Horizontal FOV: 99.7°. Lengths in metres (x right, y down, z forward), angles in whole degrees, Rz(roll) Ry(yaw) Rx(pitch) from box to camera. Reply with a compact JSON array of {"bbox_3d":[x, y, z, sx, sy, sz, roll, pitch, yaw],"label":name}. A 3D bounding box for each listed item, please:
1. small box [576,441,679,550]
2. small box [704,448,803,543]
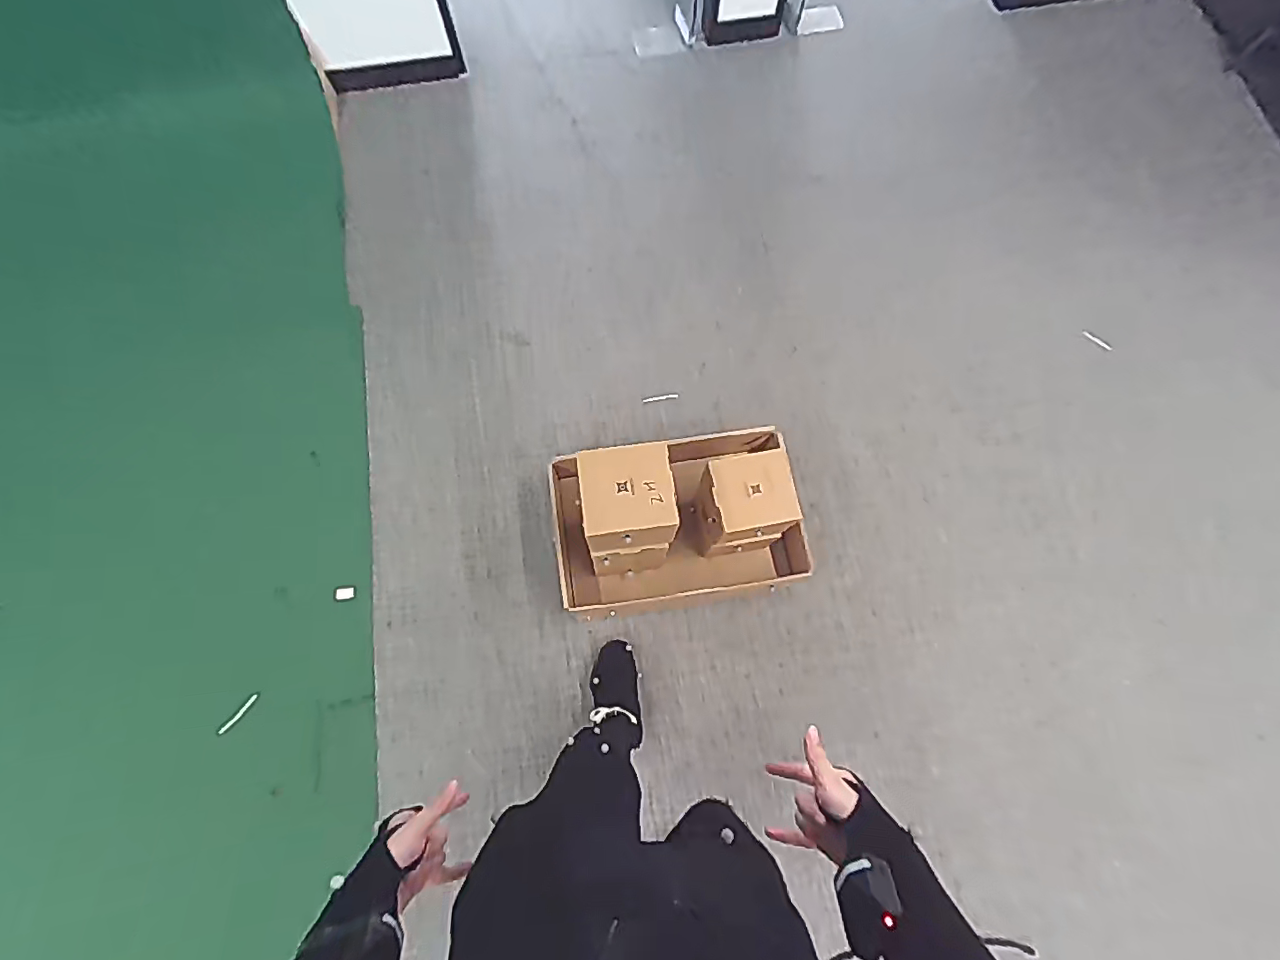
[{"bbox_3d":[-0.024,0.037,1.066,0.179,0.176,0.168,-7,73,-3],"label":"small box"},{"bbox_3d":[0.249,0.042,1.243,0.179,0.176,0.168,-10,75,-3],"label":"small box"}]
